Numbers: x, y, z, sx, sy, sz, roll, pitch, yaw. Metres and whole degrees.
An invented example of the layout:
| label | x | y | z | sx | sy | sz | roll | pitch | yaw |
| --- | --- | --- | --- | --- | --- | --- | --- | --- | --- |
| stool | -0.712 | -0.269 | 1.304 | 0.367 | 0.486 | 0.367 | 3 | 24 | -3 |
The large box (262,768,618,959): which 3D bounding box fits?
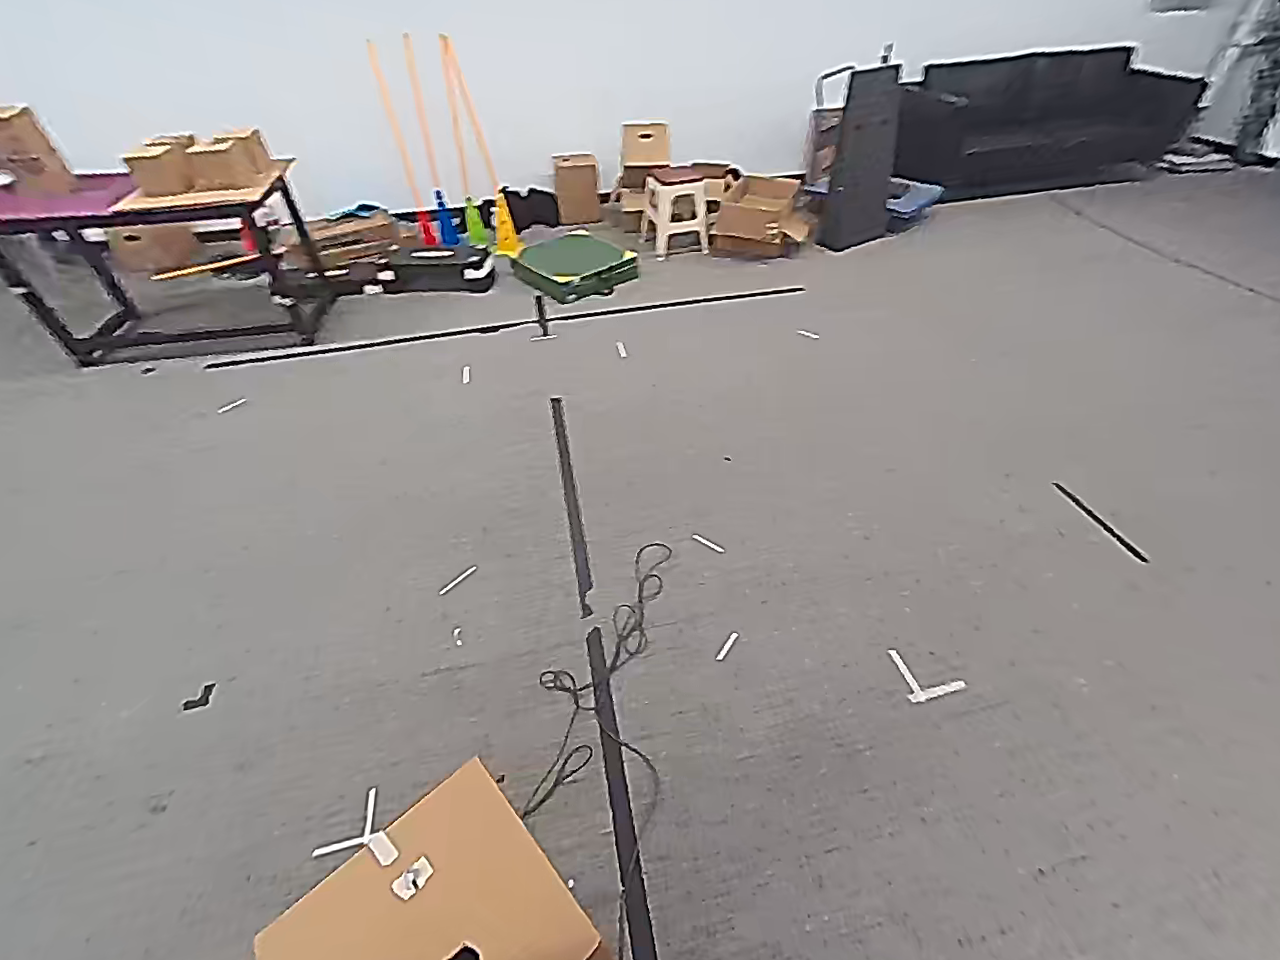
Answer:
| label | x | y | z | sx | sy | sz | roll | pitch | yaw |
| --- | --- | --- | --- | --- | --- | --- | --- | --- | --- |
| large box | -0.220 | 0.697 | 0.739 | 0.320 | 0.408 | 0.320 | -34 | 39 | -28 |
